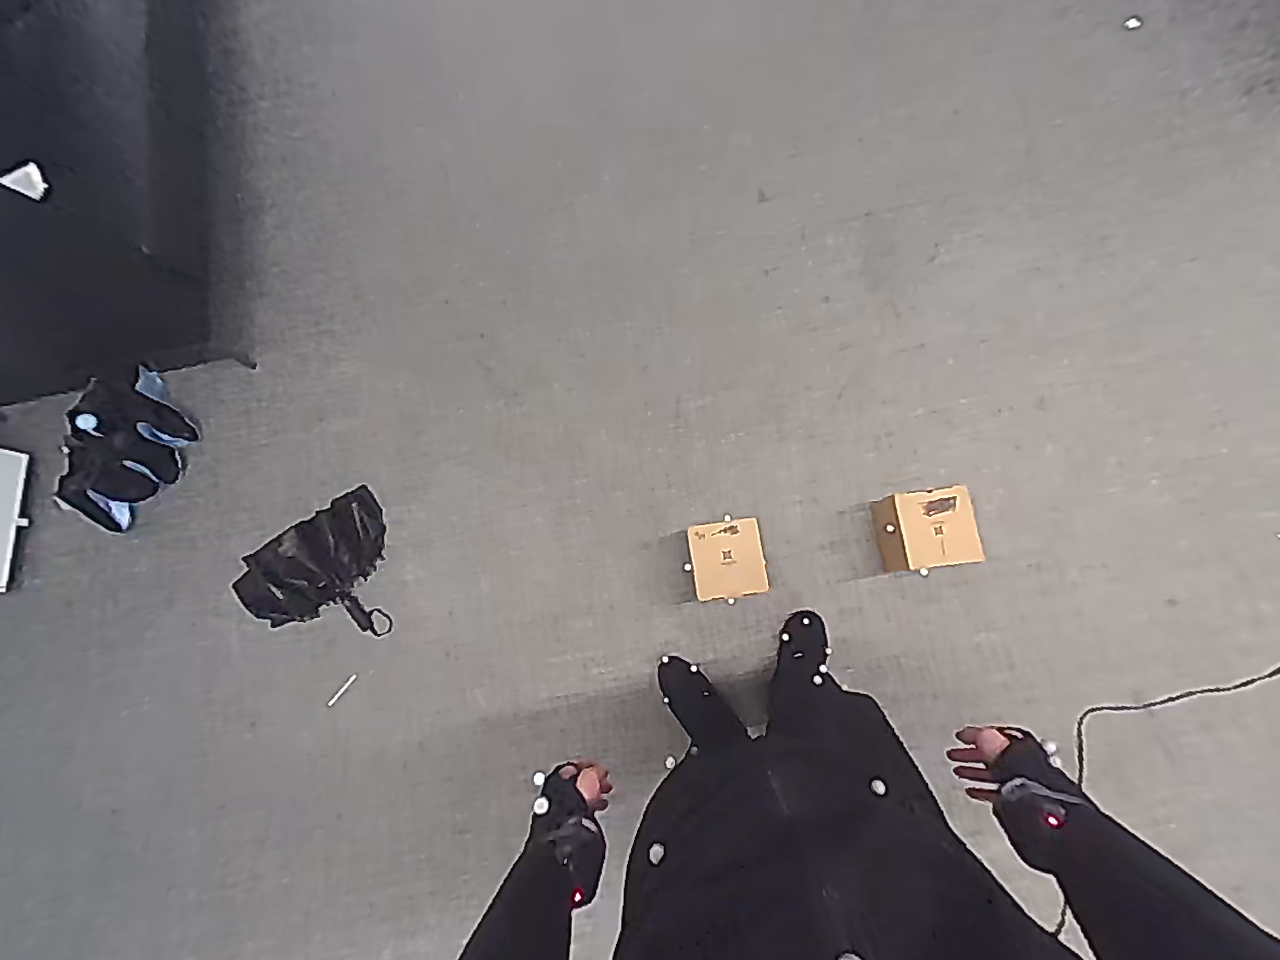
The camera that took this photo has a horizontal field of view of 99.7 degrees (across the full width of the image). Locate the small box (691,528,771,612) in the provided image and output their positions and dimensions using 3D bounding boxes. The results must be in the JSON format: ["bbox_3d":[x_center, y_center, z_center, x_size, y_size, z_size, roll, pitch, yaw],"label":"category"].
[{"bbox_3d":[0.220,0.222,1.333,0.168,0.176,0.179,-9,77,4],"label":"small box"}]

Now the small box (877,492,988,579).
[{"bbox_3d":[0.689,0.138,1.297,0.168,0.176,0.179,-9,78,5],"label":"small box"}]
